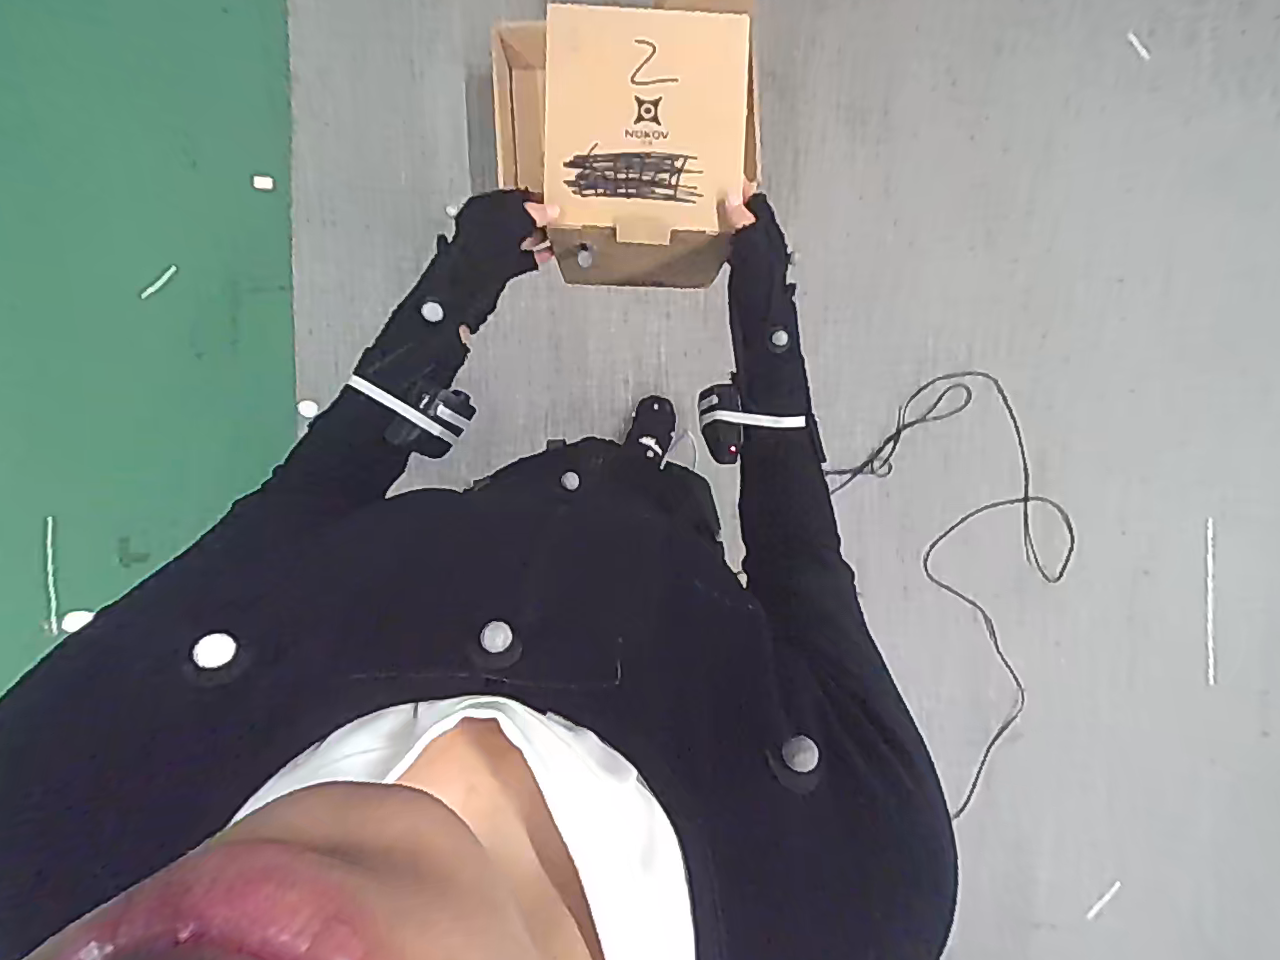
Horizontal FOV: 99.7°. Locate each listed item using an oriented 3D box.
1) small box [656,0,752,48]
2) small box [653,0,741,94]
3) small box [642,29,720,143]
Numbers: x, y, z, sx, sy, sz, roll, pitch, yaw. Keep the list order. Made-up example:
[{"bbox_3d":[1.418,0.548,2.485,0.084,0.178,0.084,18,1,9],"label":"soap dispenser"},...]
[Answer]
[{"bbox_3d":[0.117,-0.926,0.978,0.168,0.176,0.179,-2,92,-2],"label":"small box"},{"bbox_3d":[0.114,-0.940,1.125,0.168,0.176,0.179,-2,92,-1],"label":"small box"},{"bbox_3d":[0.095,-0.945,1.306,0.168,0.176,0.179,-7,92,0],"label":"small box"}]
